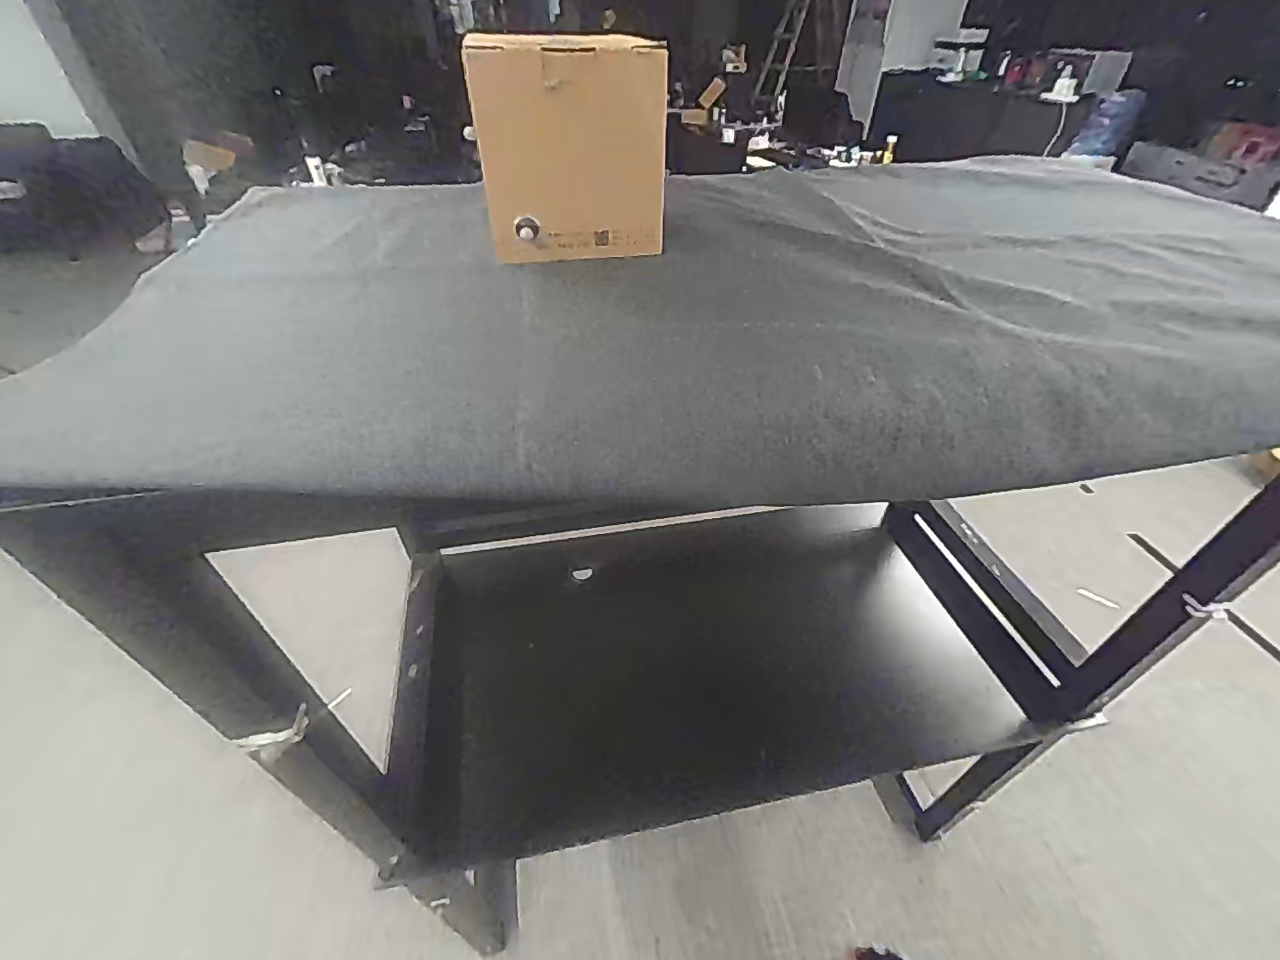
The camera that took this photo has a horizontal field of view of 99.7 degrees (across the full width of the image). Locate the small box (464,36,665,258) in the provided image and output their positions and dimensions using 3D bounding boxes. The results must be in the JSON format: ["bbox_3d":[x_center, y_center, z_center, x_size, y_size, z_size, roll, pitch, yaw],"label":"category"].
[{"bbox_3d":[-0.072,-0.332,0.544,0.168,0.176,0.179,-7,41,-9],"label":"small box"}]
